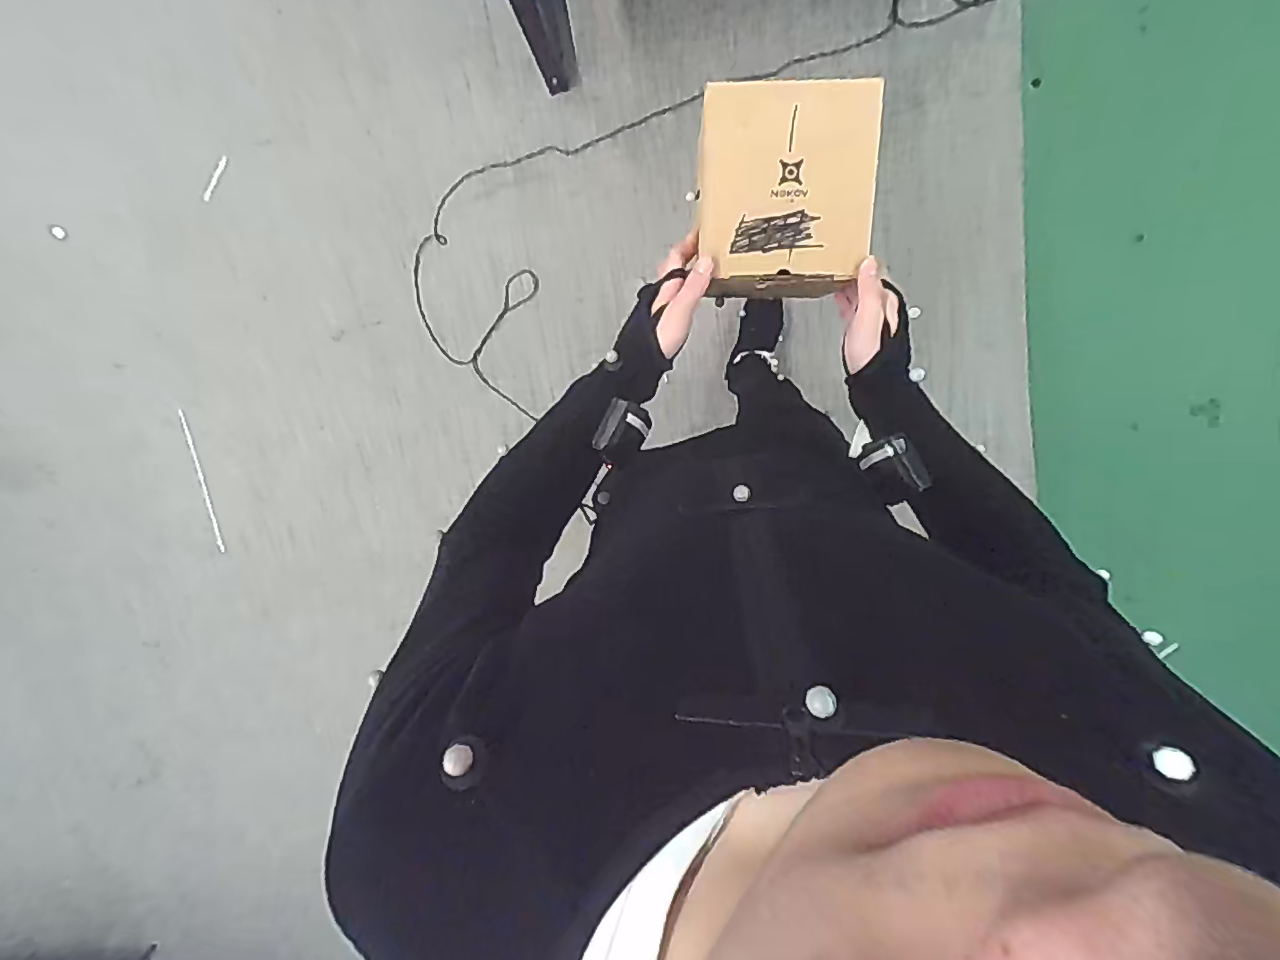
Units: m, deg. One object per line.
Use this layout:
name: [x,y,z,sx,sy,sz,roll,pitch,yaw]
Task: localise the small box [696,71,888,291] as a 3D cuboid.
small box: [0.150,-0.306,0.592,0.168,0.176,0.179,0,101,3]
